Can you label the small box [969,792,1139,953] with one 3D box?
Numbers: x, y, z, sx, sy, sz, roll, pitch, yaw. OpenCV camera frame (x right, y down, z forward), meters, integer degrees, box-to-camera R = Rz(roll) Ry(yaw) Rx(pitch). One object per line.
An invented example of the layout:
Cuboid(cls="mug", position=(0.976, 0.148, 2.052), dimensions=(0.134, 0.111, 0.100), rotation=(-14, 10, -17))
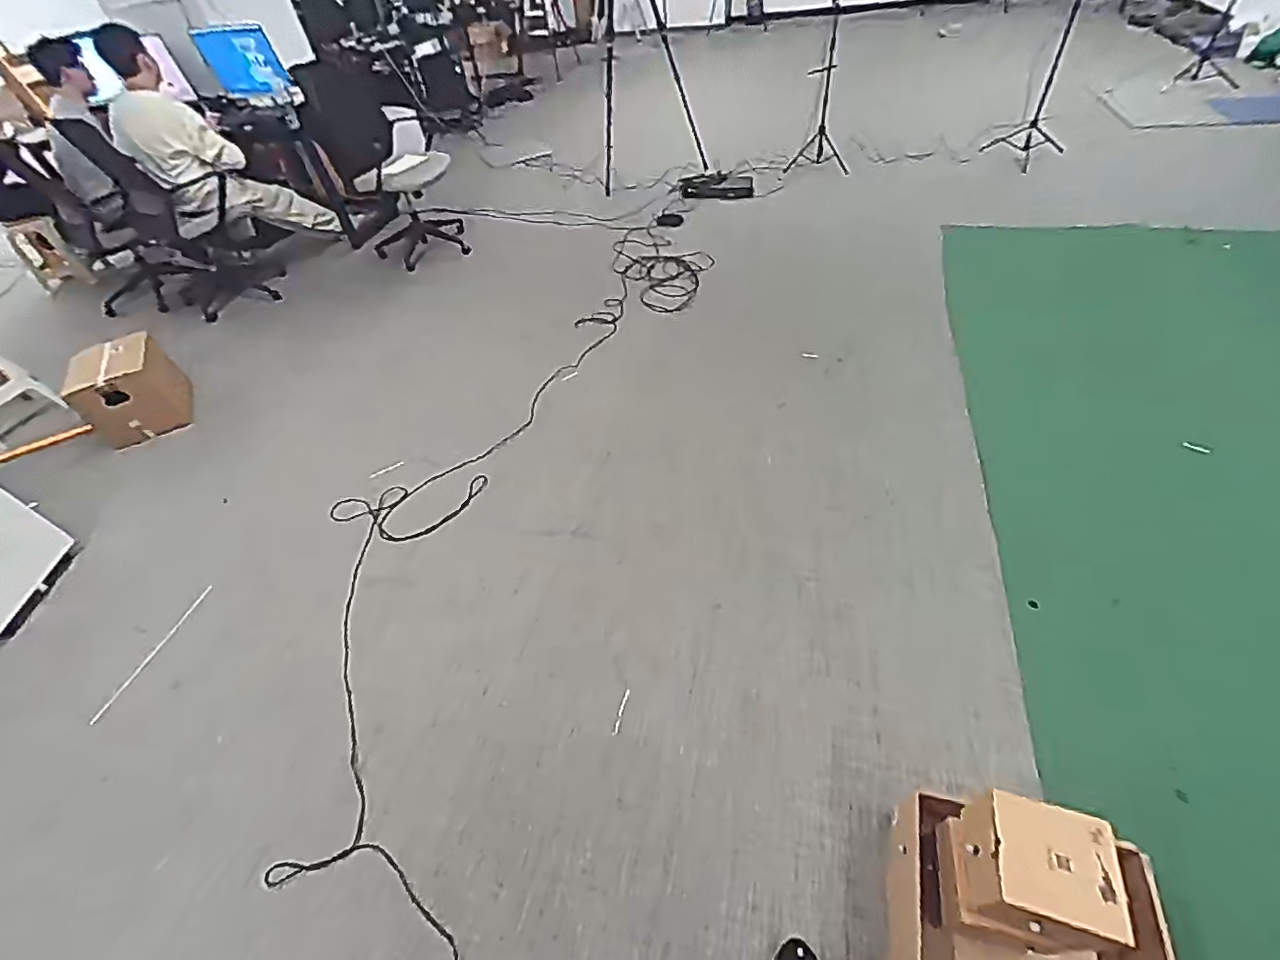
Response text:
Cuboid(cls="small box", position=(0.668, 0.656, 0.903), dimensions=(0.179, 0.176, 0.168), rotation=(9, 50, 18))
